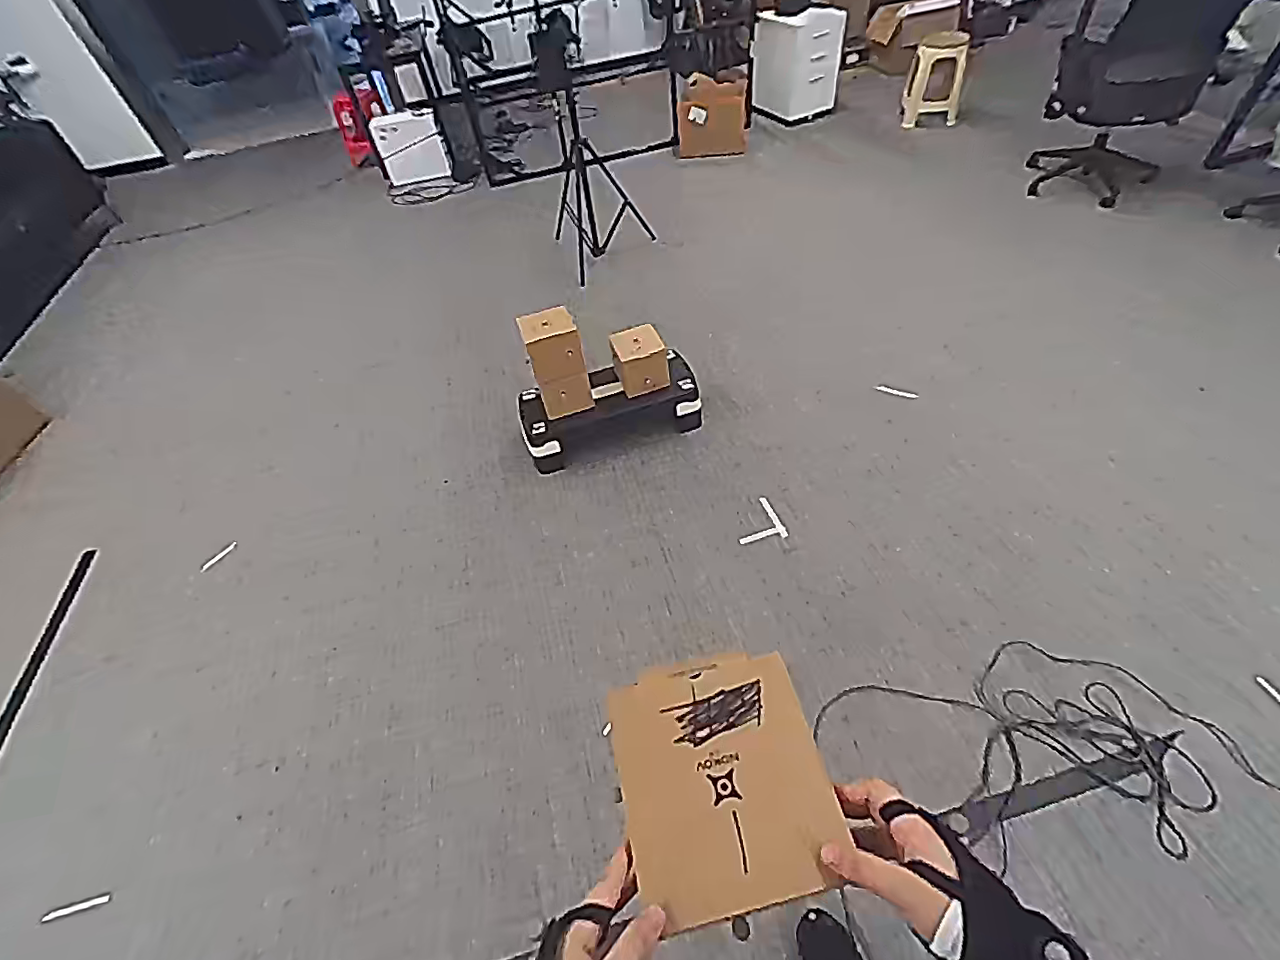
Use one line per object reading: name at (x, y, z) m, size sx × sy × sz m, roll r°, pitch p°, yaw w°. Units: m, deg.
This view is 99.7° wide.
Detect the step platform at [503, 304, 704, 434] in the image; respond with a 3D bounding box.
step platform at (-0.123, -0.395, 1.922) m, size 0.684 × 0.204 × 0.286 m, roll -17°, pitch 49°, yaw -7°

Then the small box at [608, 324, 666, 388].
small box at (-0.007, -0.438, 1.987) m, size 0.168 × 0.176 × 0.179 m, roll -19°, pitch 50°, yaw -6°

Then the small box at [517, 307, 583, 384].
small box at (-0.299, -0.454, 1.830) m, size 0.179 × 0.176 × 0.168 m, roll -19°, pitch 49°, yaw -8°

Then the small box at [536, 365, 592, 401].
small box at (-0.281, -0.350, 1.955) m, size 0.179 × 0.176 × 0.168 m, roll -19°, pitch 50°, yaw -7°

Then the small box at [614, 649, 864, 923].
small box at (0.073, 0.287, 0.505) m, size 0.168 × 0.176 × 0.179 m, roll -11°, pitch 51°, yaw -5°
